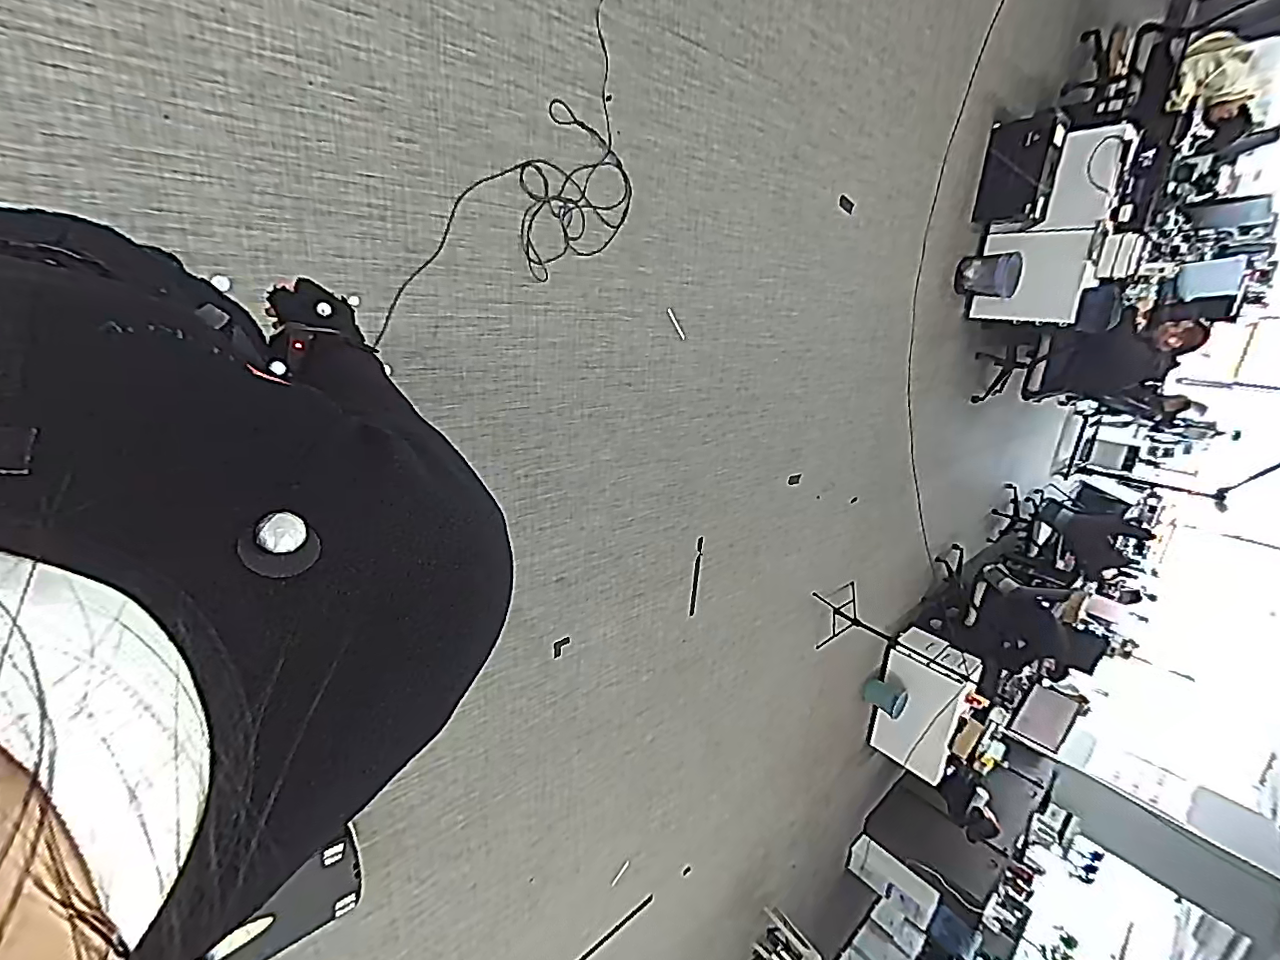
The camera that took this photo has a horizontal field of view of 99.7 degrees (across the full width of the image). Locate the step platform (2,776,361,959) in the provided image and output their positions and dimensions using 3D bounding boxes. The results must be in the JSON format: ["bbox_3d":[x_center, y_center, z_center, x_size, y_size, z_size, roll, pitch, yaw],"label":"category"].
[{"bbox_3d":[-1.086,1.069,1.358,0.684,0.204,0.286,-14,115,-38],"label":"step platform"}]
